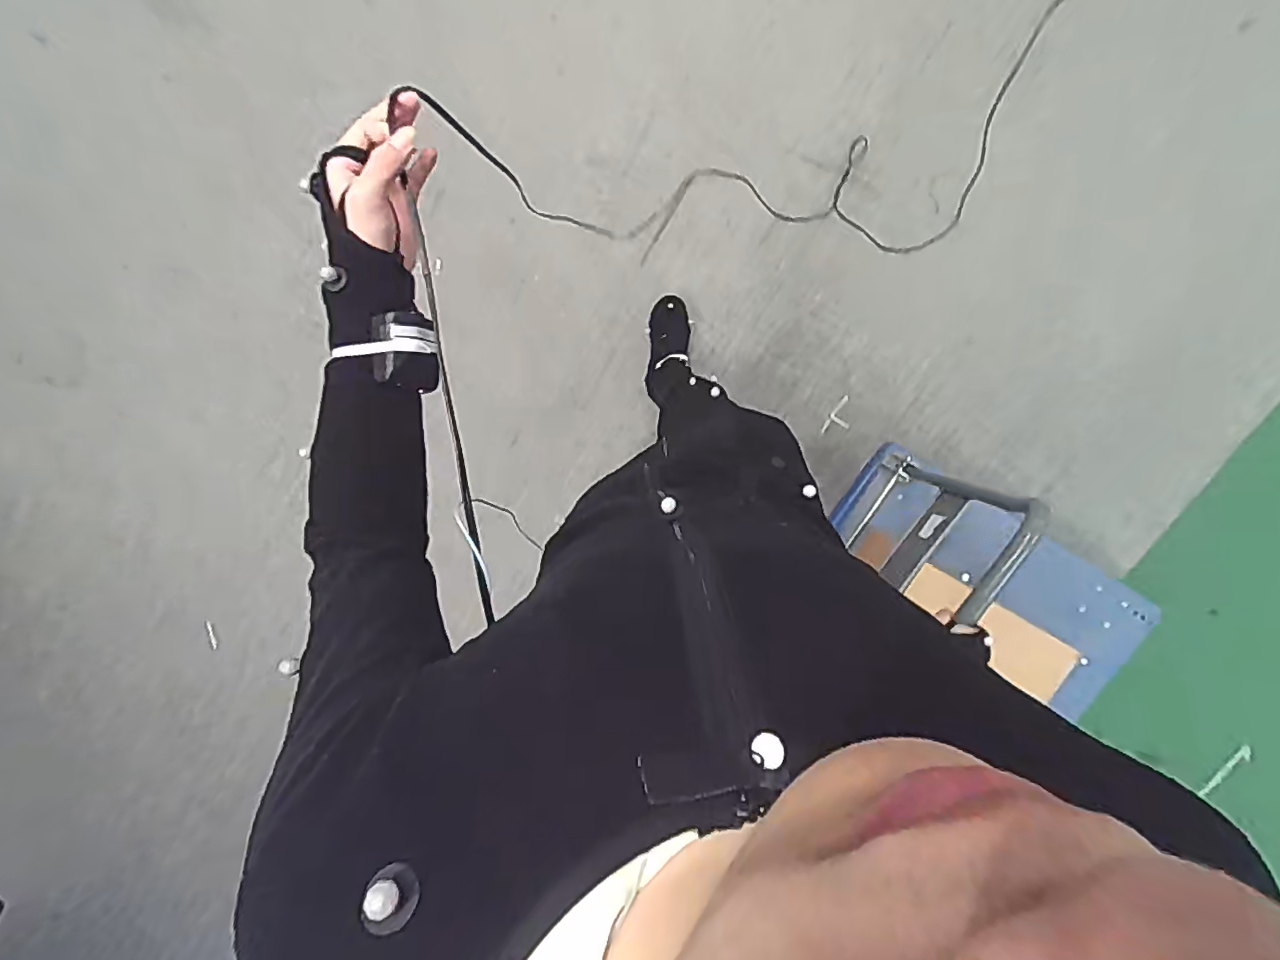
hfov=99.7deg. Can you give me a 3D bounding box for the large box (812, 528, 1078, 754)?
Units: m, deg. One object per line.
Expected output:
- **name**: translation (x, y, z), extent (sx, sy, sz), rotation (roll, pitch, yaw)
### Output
- **large box**: translation (0.706, 0.368, 1.326), extent (0.408, 0.320, 0.320), rotation (30, 100, -2)
